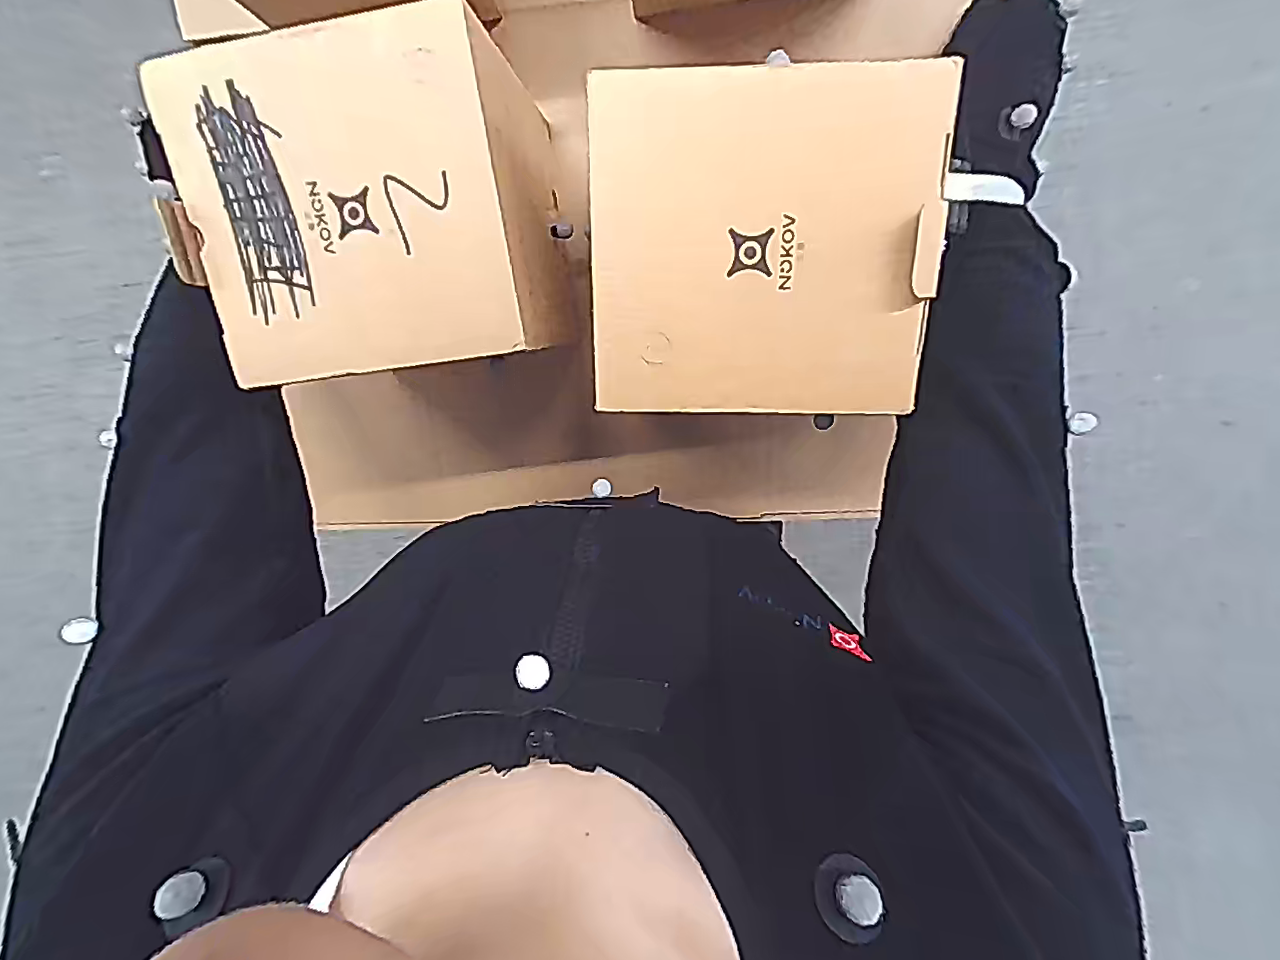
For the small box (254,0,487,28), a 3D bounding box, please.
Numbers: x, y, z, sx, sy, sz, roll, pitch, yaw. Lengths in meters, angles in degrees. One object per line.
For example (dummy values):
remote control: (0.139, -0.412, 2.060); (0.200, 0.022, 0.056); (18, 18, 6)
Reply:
small box: (-0.198, -0.401, 0.309); (0.168, 0.176, 0.179); (-3, 103, 6)
